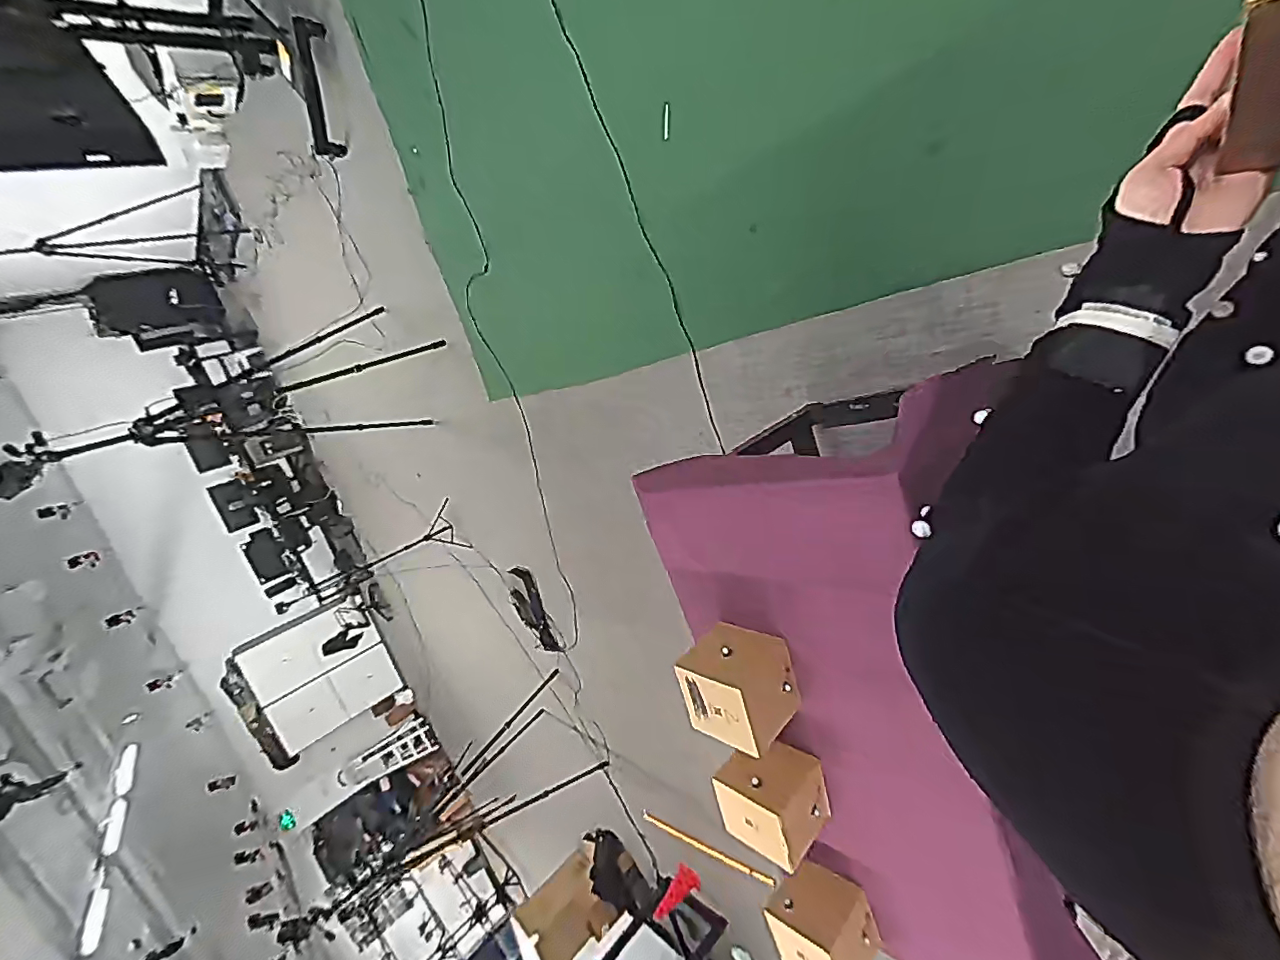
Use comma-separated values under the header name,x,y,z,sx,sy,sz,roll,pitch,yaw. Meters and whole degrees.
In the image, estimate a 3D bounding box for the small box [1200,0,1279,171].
name,x,y,z,sx,sy,sz,roll,pitch,yaw
small box,0.408,-0.283,0.250,0.179,0.168,0.176,15,96,43

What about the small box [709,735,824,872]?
name,x,y,z,sx,sy,sz,roll,pitch,yaw
small box,0.286,0.709,1.212,0.179,0.176,0.168,4,115,47

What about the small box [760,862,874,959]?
name,x,y,z,sx,sy,sz,roll,pitch,yaw
small box,0.416,1.049,1.267,0.179,0.176,0.168,-6,108,50
